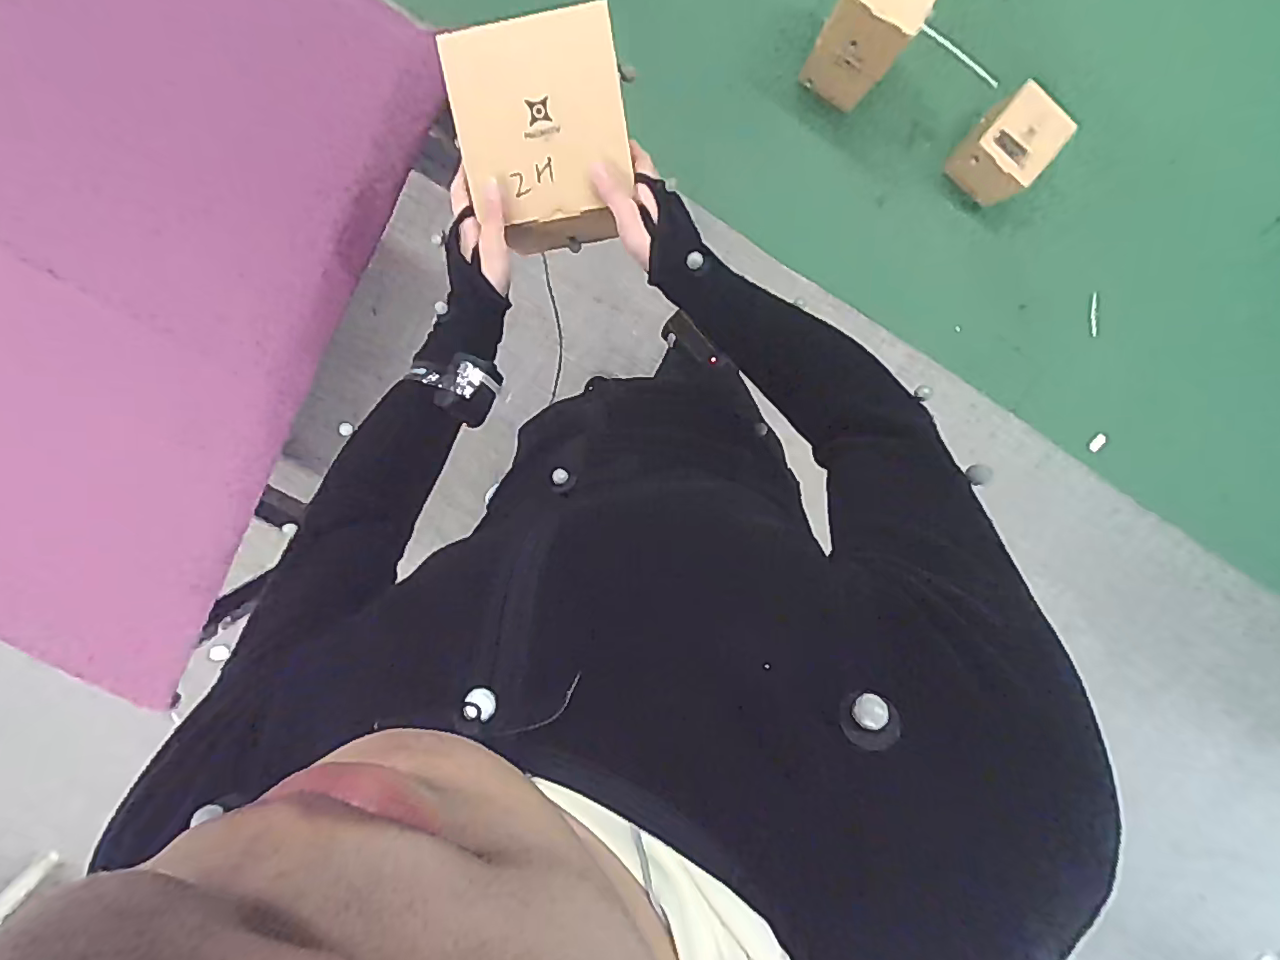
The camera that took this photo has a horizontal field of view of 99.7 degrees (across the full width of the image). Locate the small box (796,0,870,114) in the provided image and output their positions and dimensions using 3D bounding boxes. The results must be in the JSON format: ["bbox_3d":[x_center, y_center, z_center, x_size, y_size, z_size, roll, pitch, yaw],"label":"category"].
[{"bbox_3d":[0.504,-1.049,1.323,0.168,0.176,0.179,28,100,-6],"label":"small box"}]

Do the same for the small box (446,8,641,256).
[{"bbox_3d":[-0.091,-0.363,0.600,0.168,0.176,0.179,-8,105,3],"label":"small box"}]

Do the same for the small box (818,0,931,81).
[{"bbox_3d":[0.512,-1.021,1.163,0.168,0.176,0.179,27,101,-6],"label":"small box"}]
